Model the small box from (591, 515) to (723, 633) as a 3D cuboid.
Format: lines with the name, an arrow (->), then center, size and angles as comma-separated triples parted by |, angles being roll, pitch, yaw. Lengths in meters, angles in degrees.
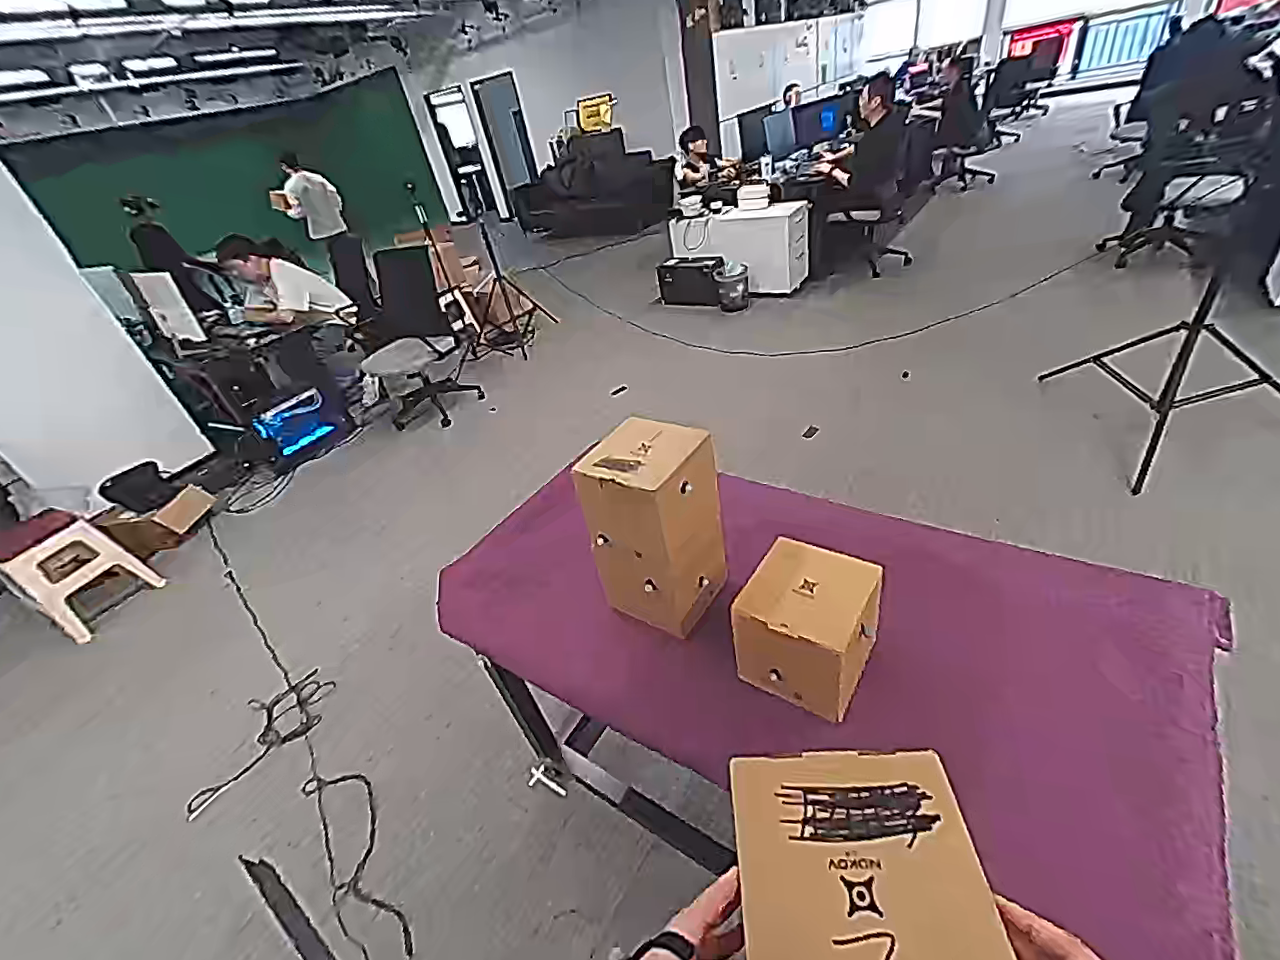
small box -> 0.041, 0.155, 1.001 | 0.179, 0.176, 0.168 | 16, 44, 34

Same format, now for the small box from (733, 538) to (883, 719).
small box -> 0.259, 0.225, 0.838 | 0.168, 0.176, 0.179 | 15, 44, 34

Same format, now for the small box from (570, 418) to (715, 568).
small box -> 0.015, 0.020, 0.911 | 0.168, 0.176, 0.179 | 14, 43, 32
